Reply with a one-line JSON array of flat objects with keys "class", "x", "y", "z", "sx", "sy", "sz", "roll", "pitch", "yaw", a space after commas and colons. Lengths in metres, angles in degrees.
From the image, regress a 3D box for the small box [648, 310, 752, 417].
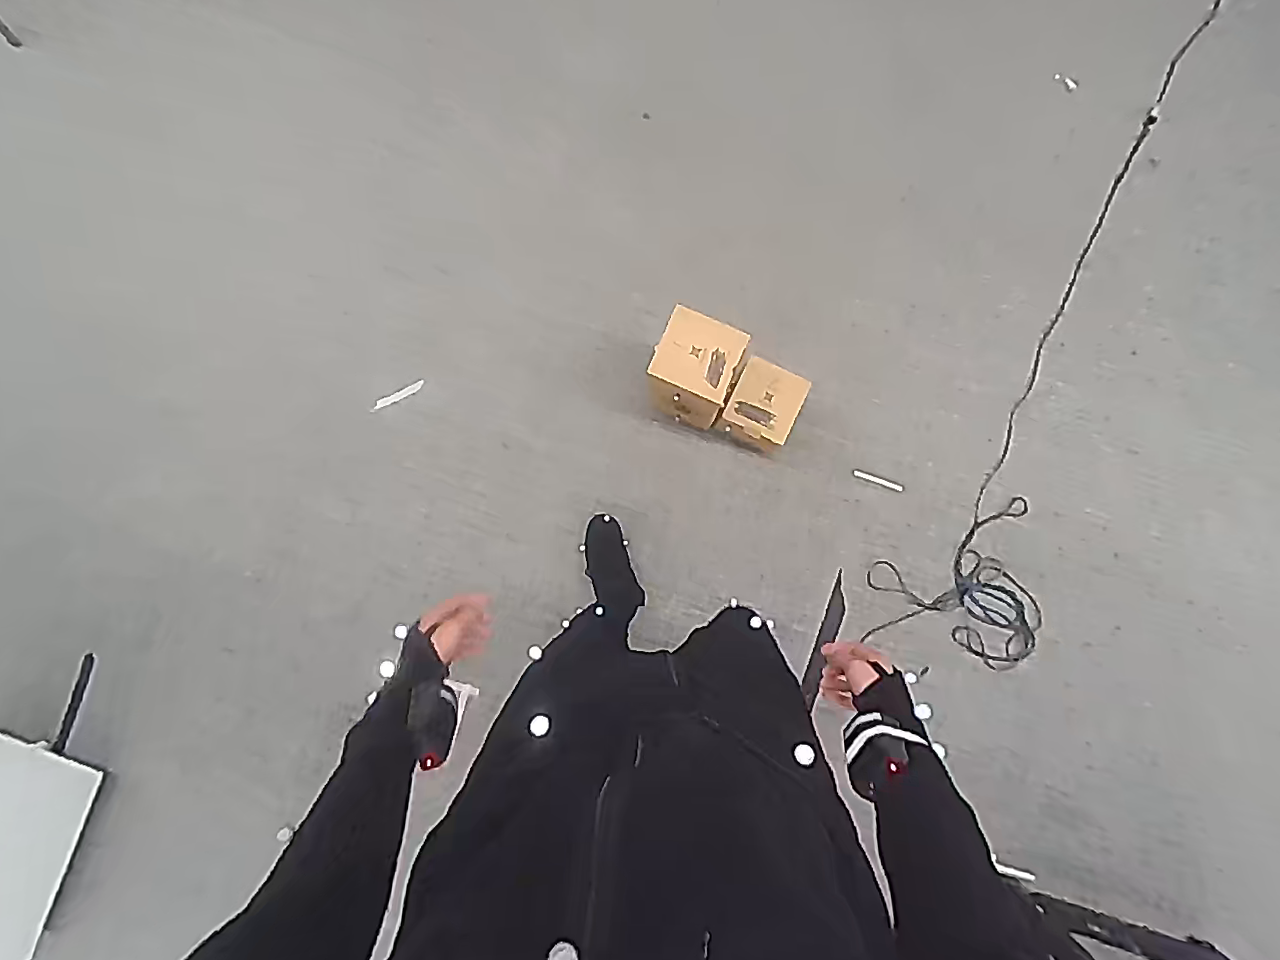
[{"class": "small box", "x": 0.129, "y": -0.253, "z": 1.227, "sx": 0.179, "sy": 0.176, "sz": 0.168, "roll": 24, "pitch": 87, "yaw": 3}]
